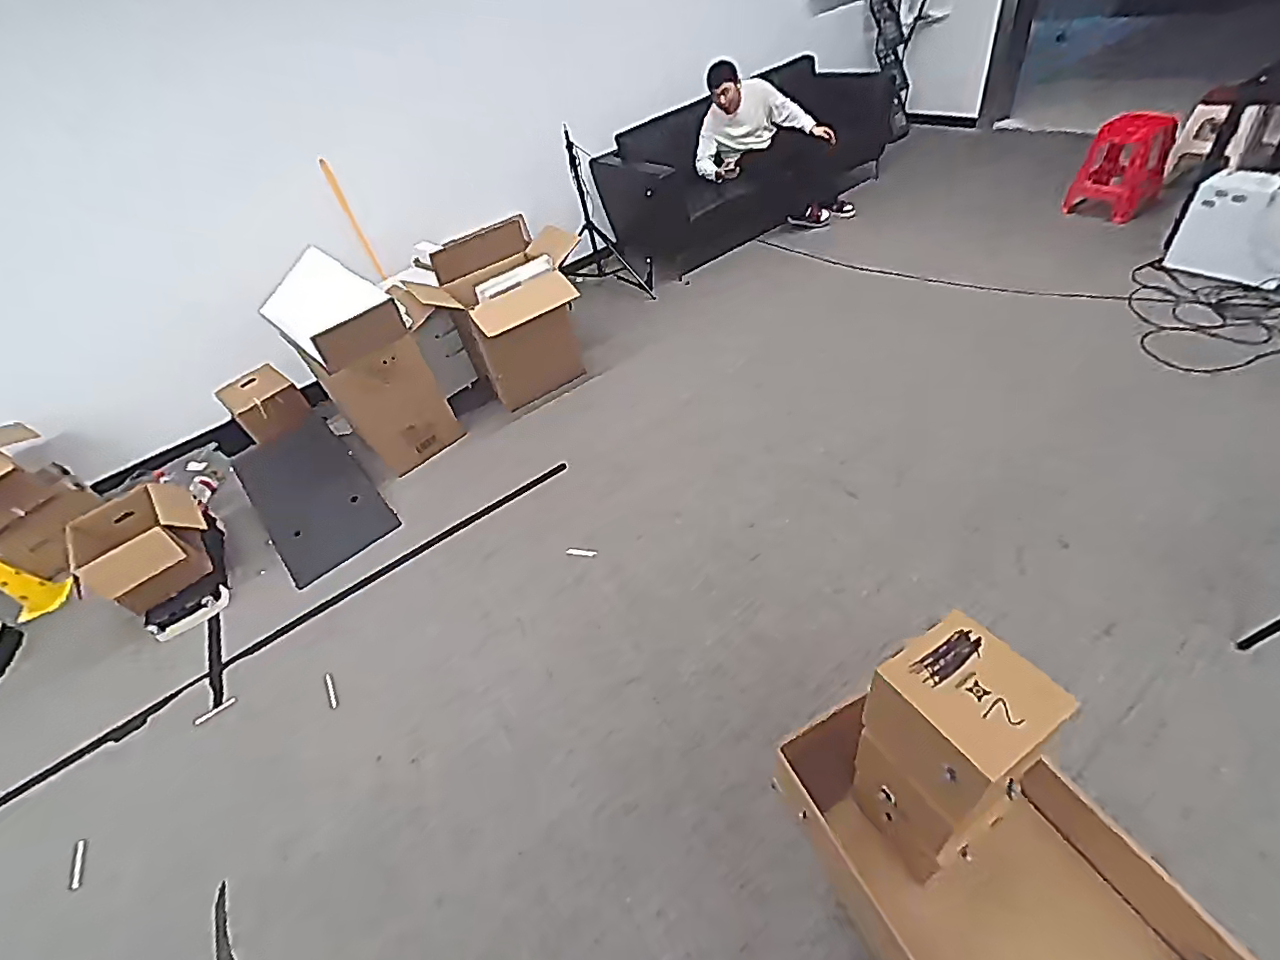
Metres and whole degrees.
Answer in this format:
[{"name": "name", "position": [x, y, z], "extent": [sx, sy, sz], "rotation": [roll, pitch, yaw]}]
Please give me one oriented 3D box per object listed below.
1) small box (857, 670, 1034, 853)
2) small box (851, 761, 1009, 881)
[{"name": "small box", "position": [0.471, 0.449, 0.865], "extent": [0.179, 0.176, 0.168], "rotation": [-29, 44, -16]}, {"name": "small box", "position": [0.503, 0.571, 0.969], "extent": [0.168, 0.176, 0.179], "rotation": [-27, 45, -14]}]
